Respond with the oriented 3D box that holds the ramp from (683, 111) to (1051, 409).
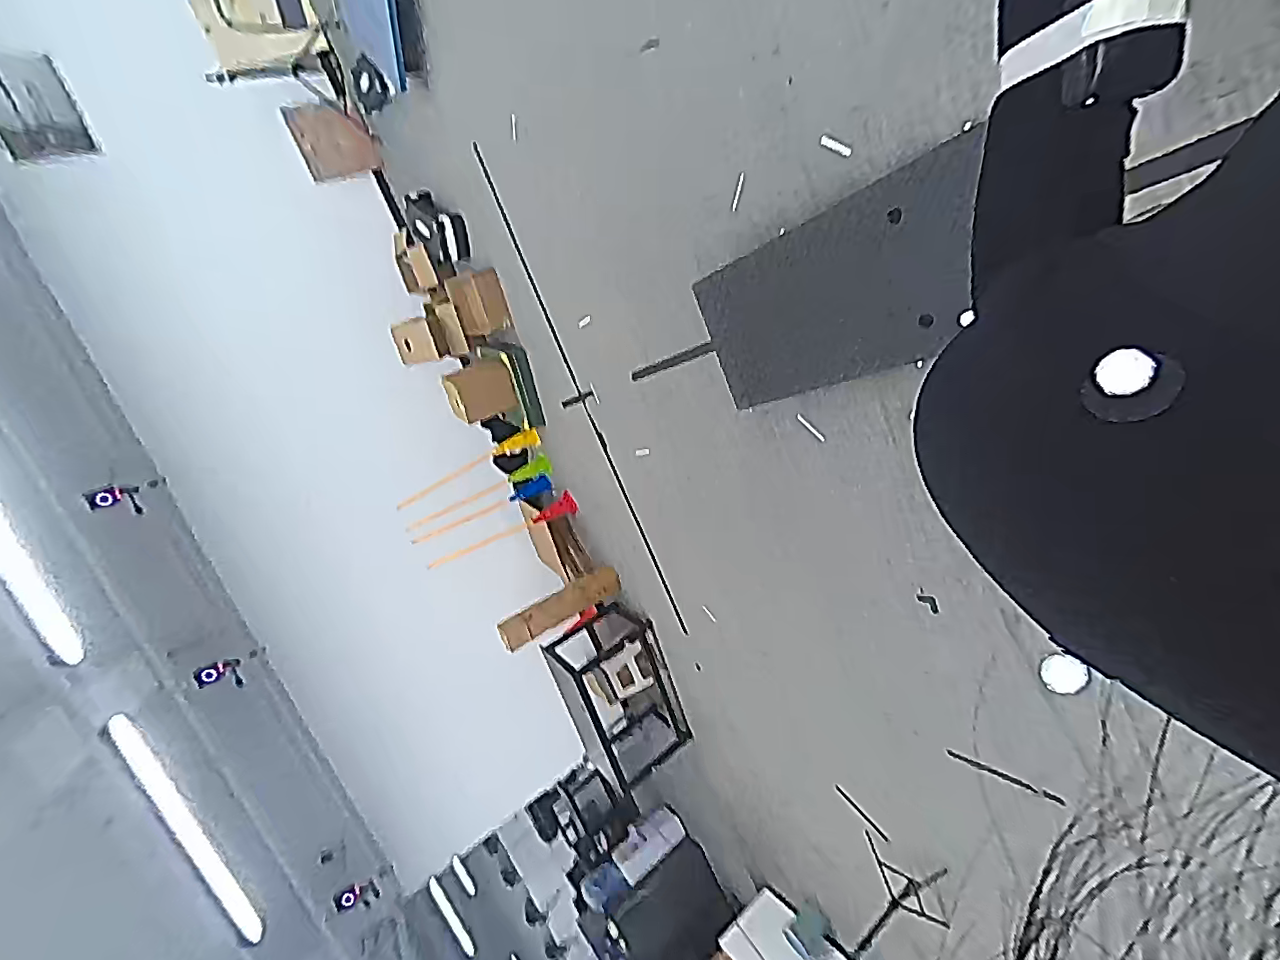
[{"bbox_3d":[0.563,-0.545,1.605,0.991,0.206,0.509,-8,107,60],"label":"ramp"}]
